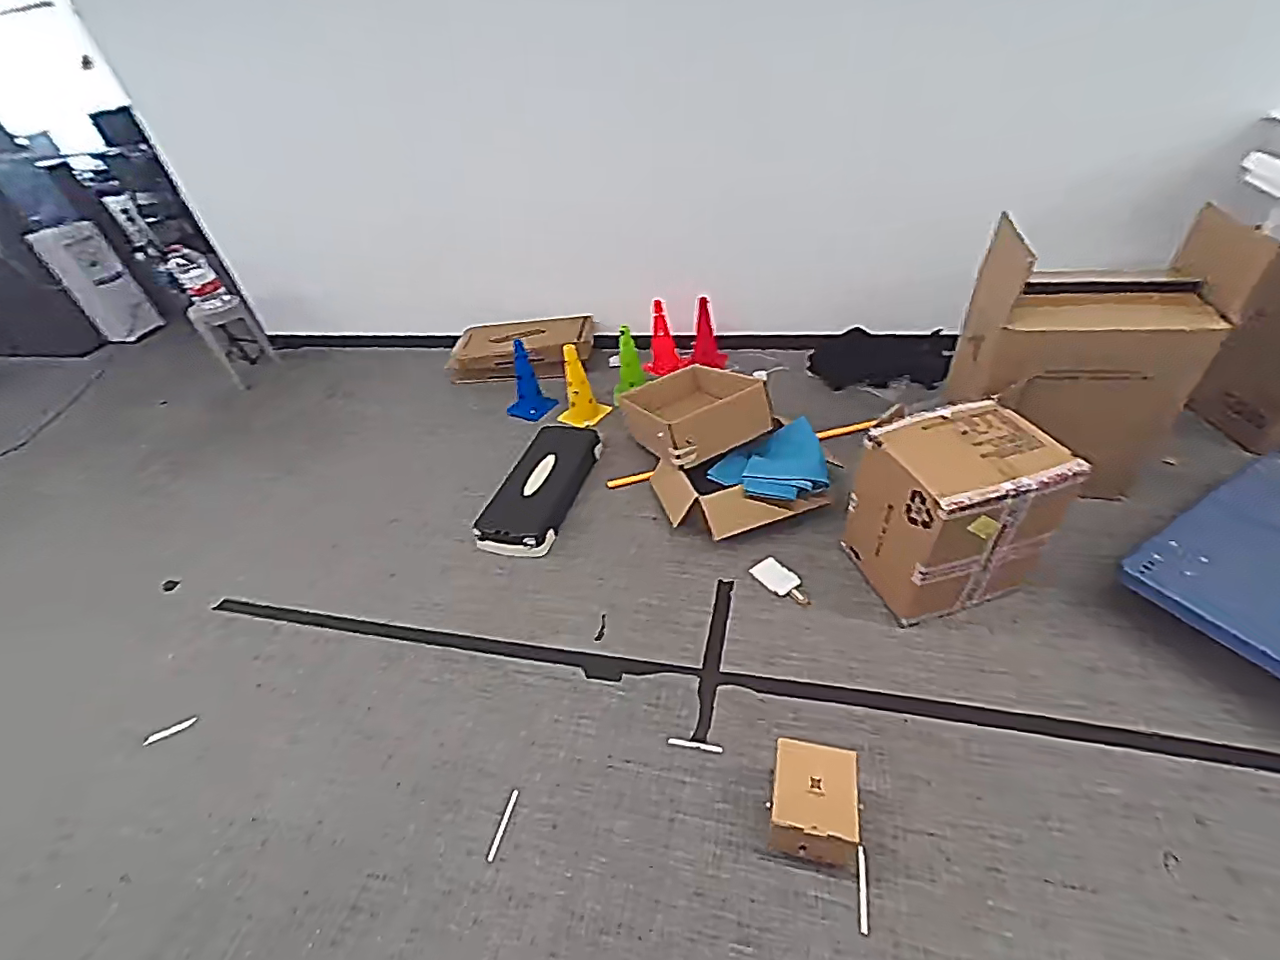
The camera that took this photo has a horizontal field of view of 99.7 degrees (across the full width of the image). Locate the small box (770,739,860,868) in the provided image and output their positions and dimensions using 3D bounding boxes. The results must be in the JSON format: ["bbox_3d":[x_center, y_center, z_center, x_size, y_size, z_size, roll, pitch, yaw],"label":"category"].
[{"bbox_3d":[0.373,0.696,1.168,0.168,0.176,0.179,5,43,15],"label":"small box"}]
